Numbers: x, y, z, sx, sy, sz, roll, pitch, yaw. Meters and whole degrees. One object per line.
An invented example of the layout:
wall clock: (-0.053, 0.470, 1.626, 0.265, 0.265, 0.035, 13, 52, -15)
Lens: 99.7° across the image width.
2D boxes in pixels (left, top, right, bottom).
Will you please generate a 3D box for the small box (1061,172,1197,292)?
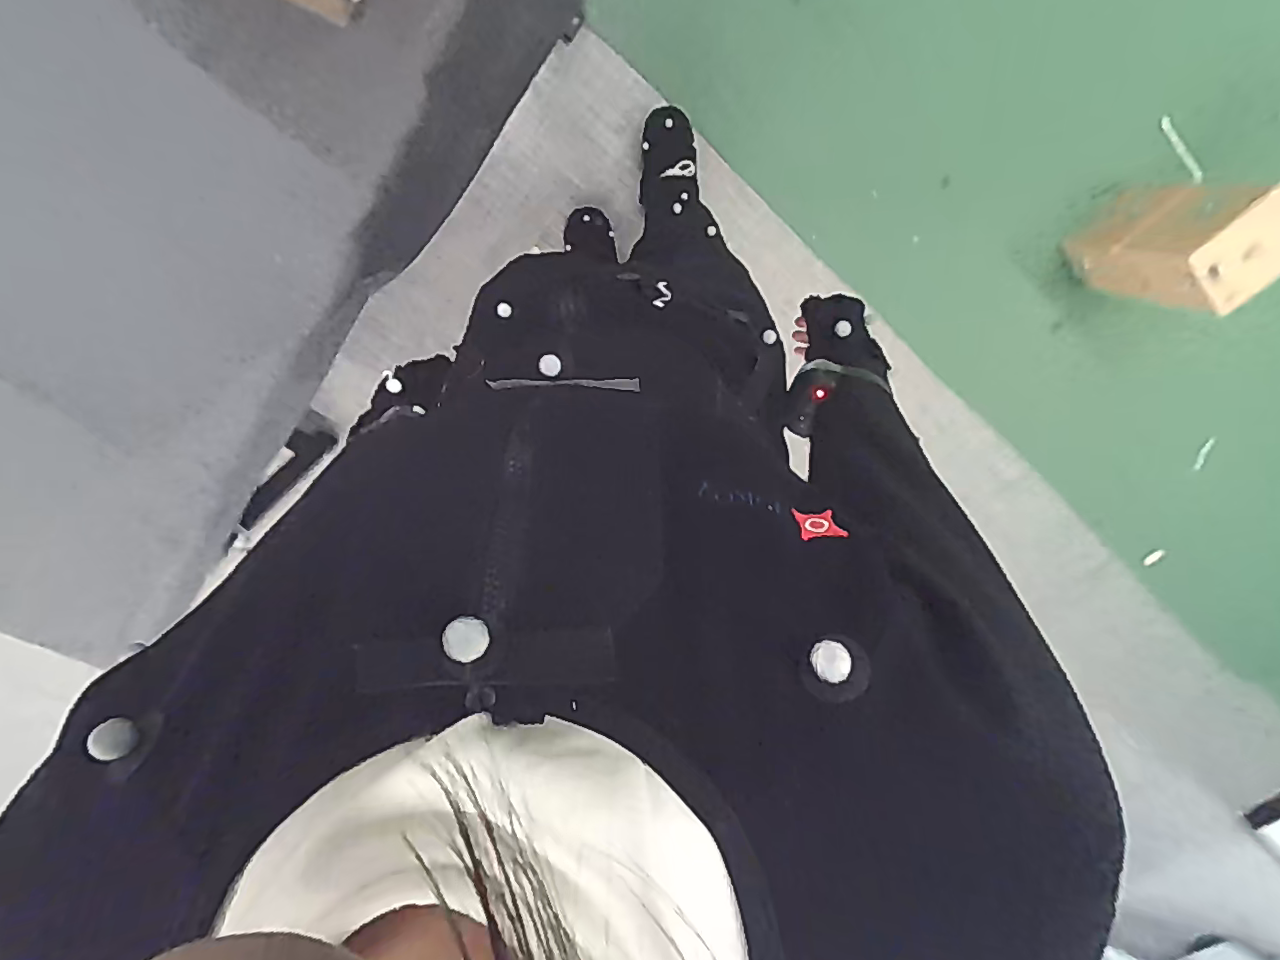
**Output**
small box: (1.107, -0.555, 1.205, 0.168, 0.176, 0.179, 36, 113, -19)

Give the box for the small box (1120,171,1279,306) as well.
small box: (1.119, -0.476, 1.061, 0.168, 0.176, 0.179, 37, 111, -20)
